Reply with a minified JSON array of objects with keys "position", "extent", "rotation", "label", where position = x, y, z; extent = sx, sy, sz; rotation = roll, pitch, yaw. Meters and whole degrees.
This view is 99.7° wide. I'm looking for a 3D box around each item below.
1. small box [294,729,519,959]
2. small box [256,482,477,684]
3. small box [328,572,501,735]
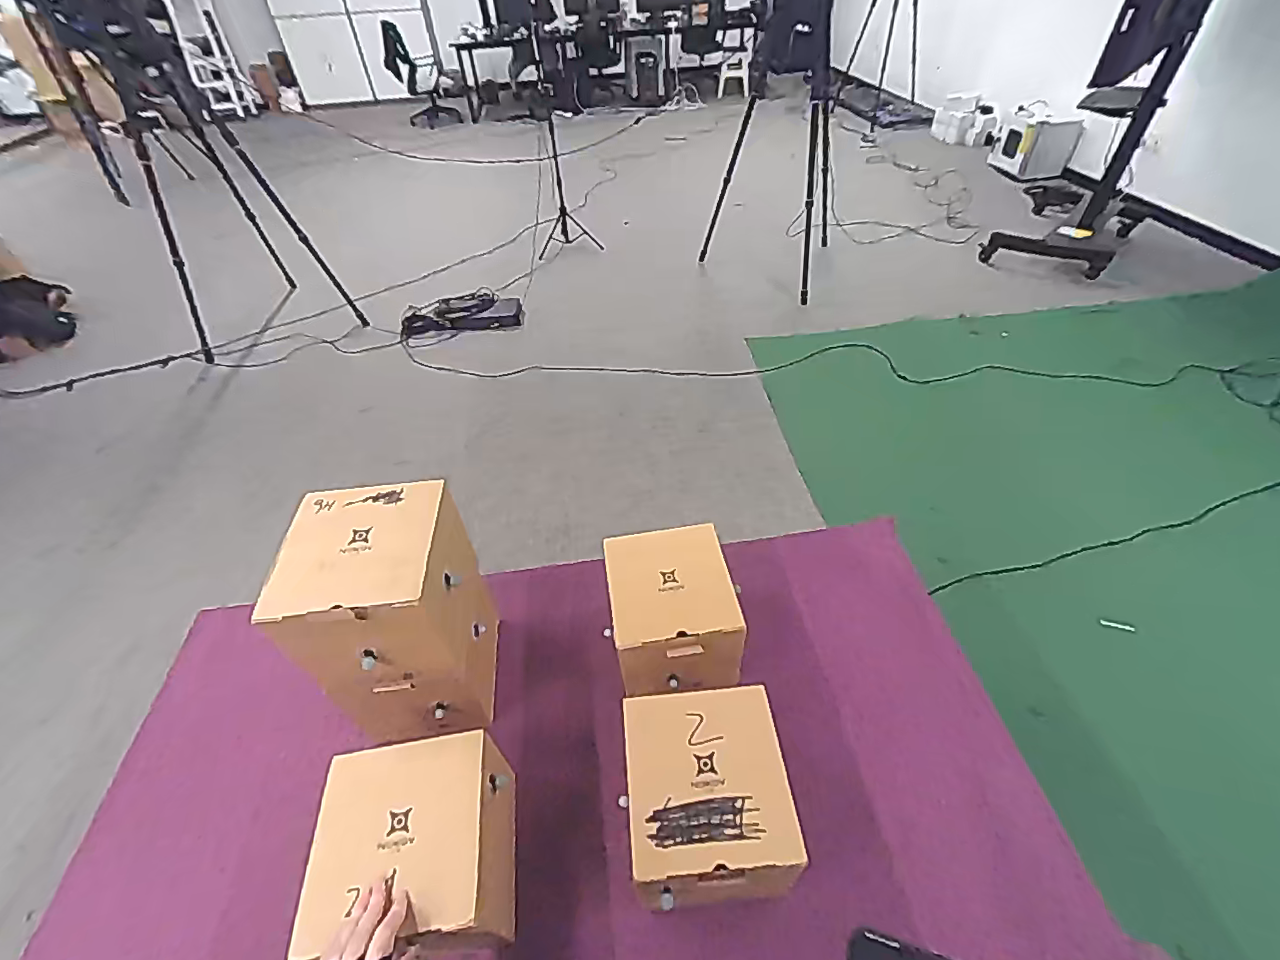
[{"position":[-0.233,0.406,0.594],"extent":[0.168,0.176,0.179],"rotation":[-9,45,-4],"label":"small box"},{"position":[-0.301,0.128,0.644],"extent":[0.168,0.176,0.179],"rotation":[-6,46,-3],"label":"small box"},{"position":[-0.299,0.243,0.763],"extent":[0.168,0.176,0.179],"rotation":[-6,45,-3],"label":"small box"}]
